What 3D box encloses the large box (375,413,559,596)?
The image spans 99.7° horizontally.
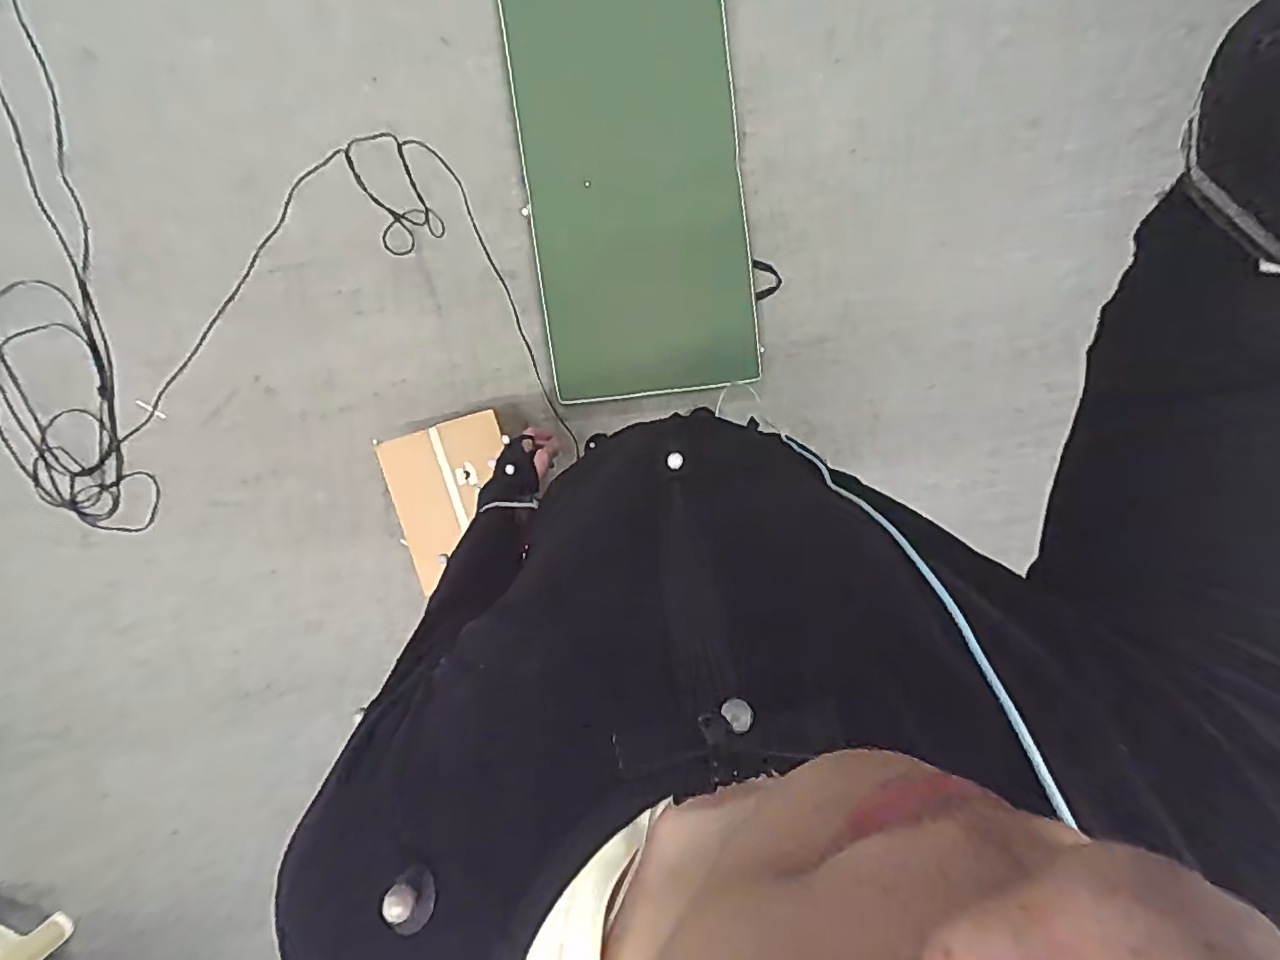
[{"bbox_3d":[-0.449,0.054,1.494,0.320,0.320,0.408,-17,94,2],"label":"large box"}]
